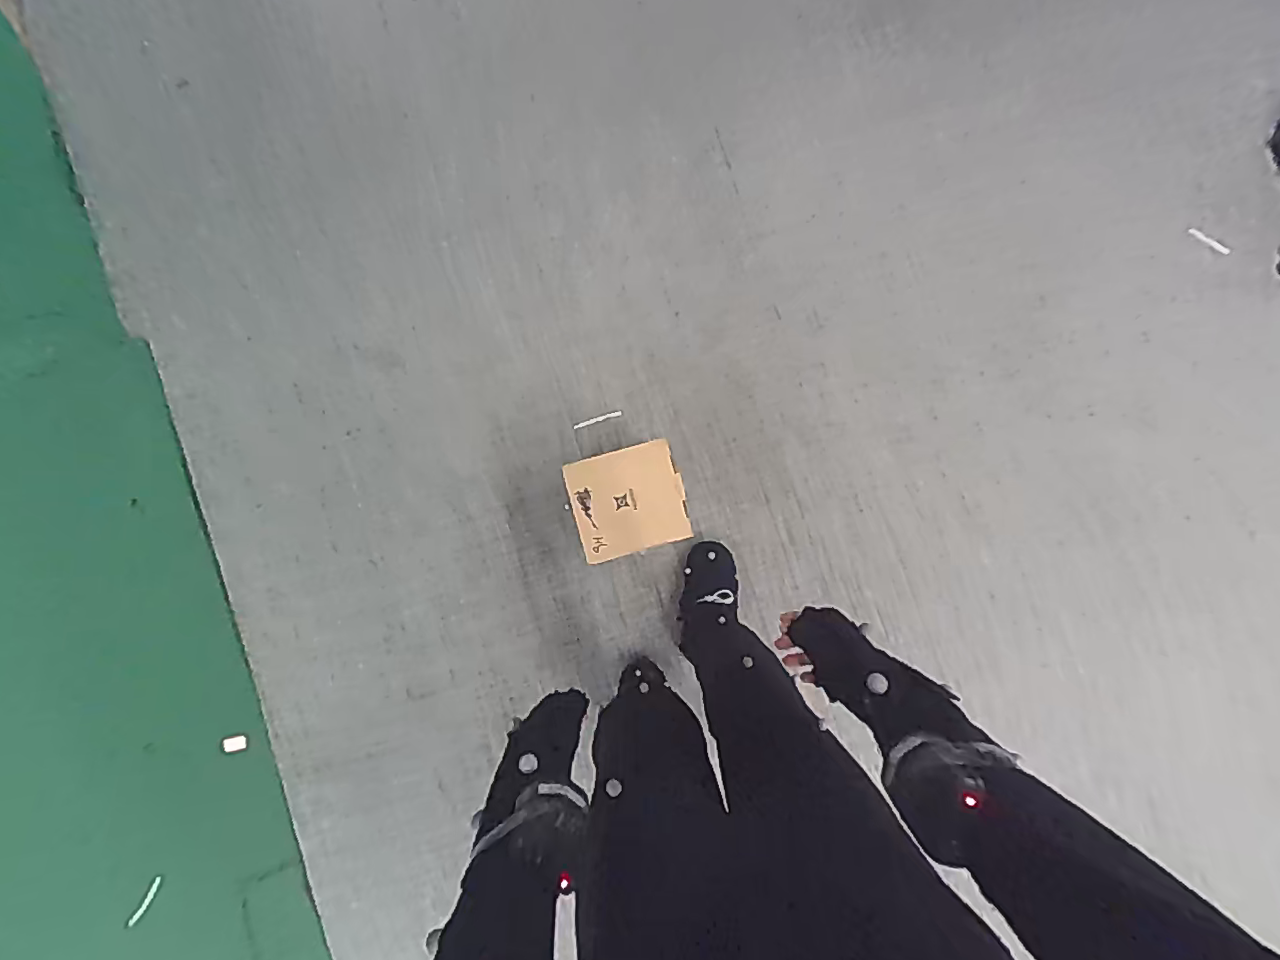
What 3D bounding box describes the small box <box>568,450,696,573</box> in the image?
[{"bbox_3d":[-0.015,0.052,0.942,0.179,0.176,0.168,-15,87,-1],"label":"small box"}]
